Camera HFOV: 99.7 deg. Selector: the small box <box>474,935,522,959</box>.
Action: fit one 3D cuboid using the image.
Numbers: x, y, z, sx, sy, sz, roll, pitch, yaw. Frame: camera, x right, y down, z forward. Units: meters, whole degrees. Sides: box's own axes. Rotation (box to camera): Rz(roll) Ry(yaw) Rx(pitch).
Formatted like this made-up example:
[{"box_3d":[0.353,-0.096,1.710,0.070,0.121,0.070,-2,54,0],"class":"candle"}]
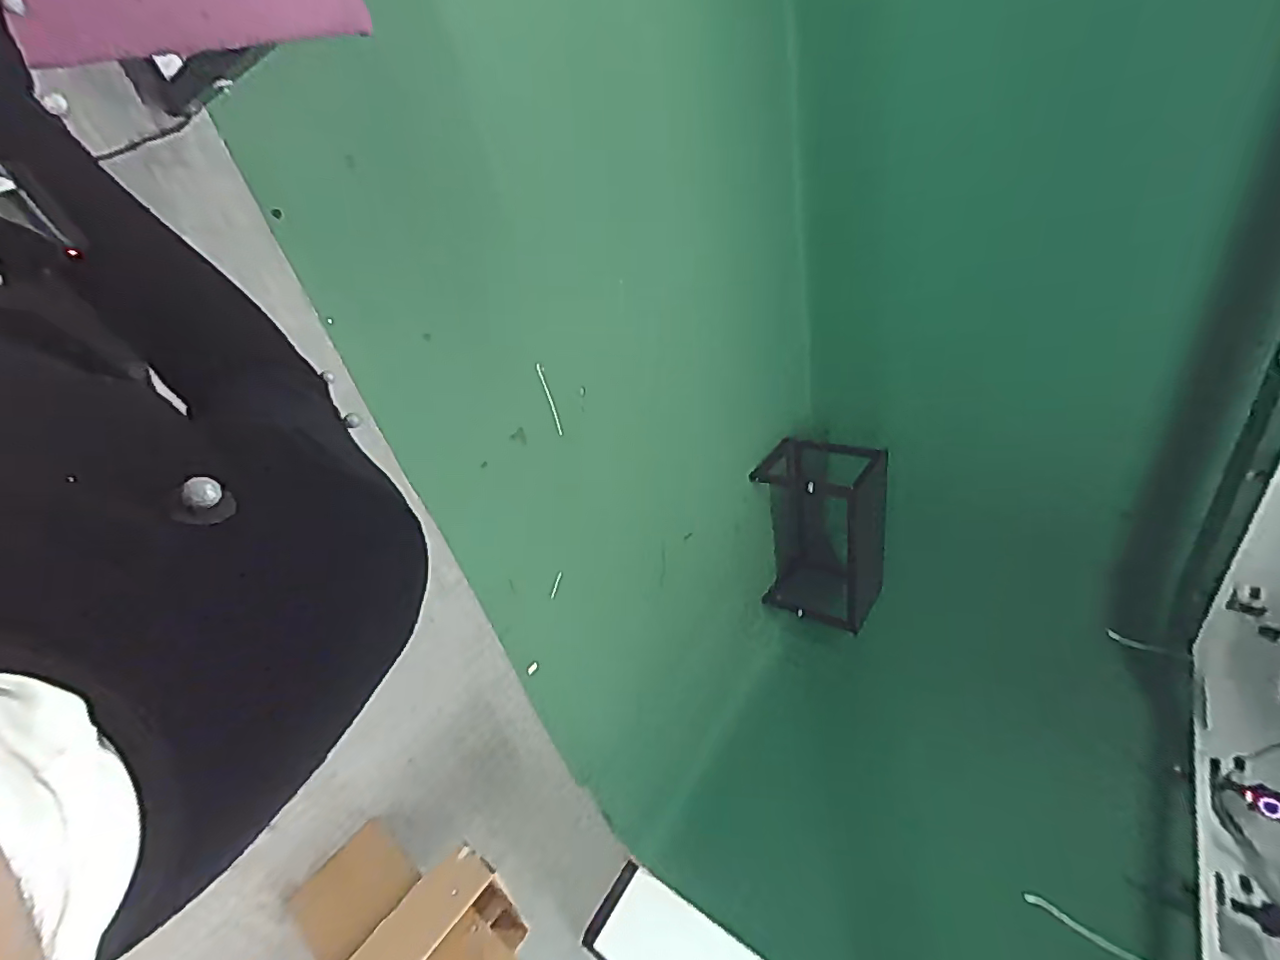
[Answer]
[{"box_3d":[-0.399,1.460,1.541,0.168,0.176,0.179,-39,129,-40],"class":"small box"}]
